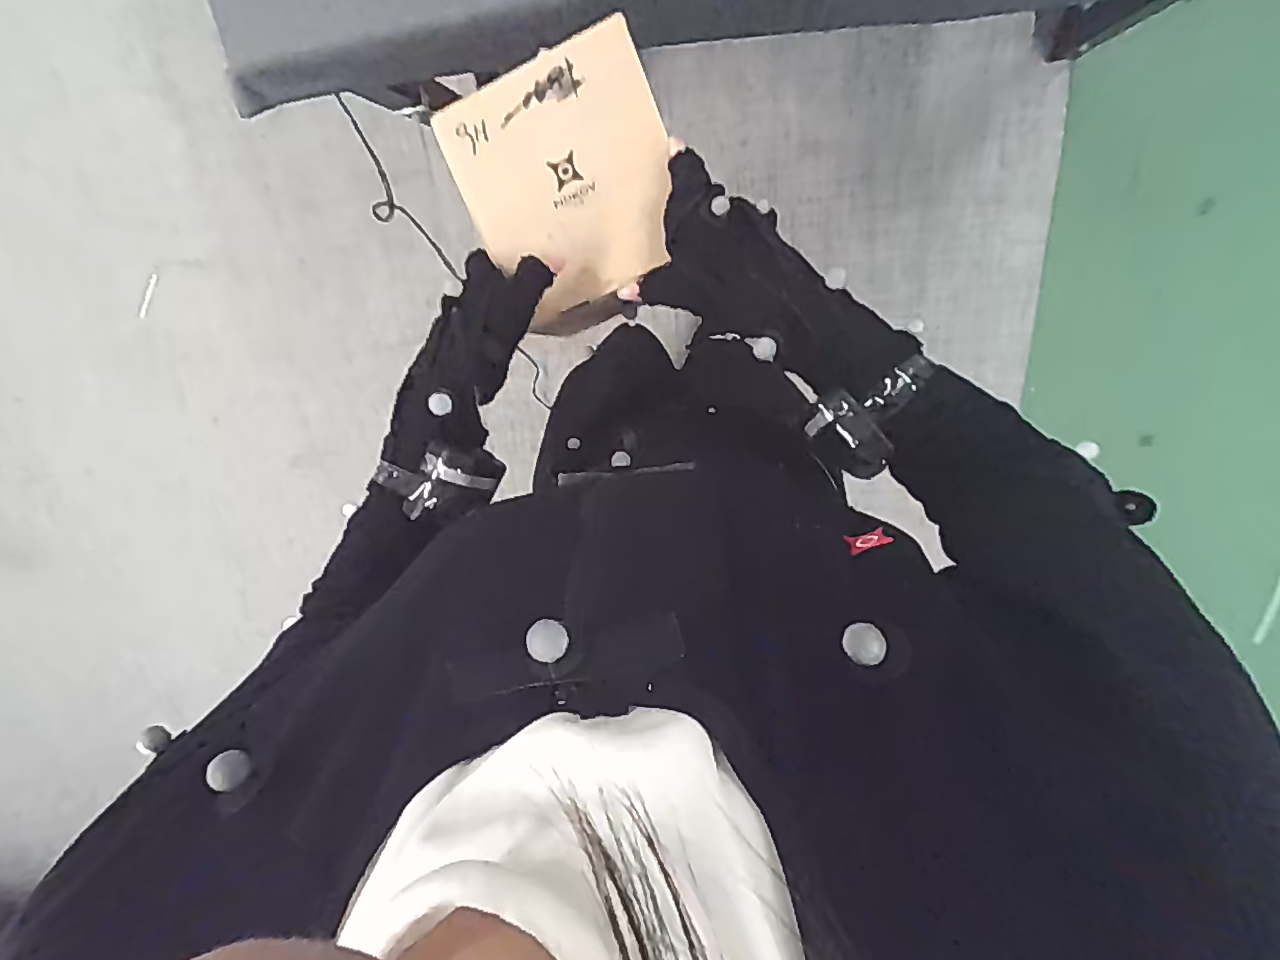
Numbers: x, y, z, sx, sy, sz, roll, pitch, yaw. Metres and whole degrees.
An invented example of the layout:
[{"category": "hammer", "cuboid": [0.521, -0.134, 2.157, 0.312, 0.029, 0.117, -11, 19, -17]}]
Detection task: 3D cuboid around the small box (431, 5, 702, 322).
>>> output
[{"category": "small box", "cuboid": [-0.048, -0.259, 0.495, 0.168, 0.176, 0.179, -20, 103, 10]}]
